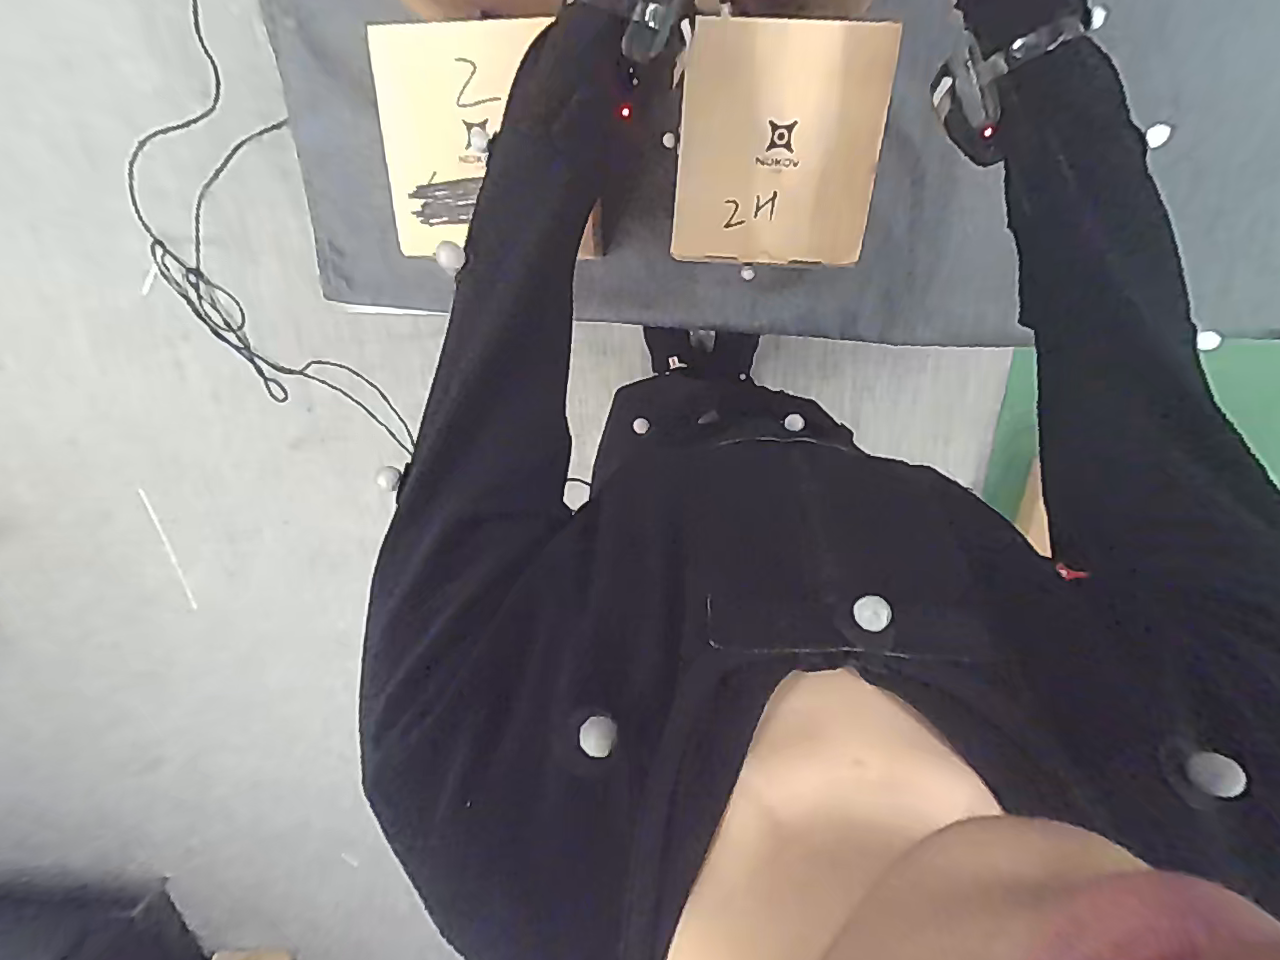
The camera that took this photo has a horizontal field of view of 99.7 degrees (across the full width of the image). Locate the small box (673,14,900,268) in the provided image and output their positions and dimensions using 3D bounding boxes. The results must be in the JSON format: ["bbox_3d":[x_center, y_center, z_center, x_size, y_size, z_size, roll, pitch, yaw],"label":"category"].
[{"bbox_3d":[0.121,-0.304,0.522,0.168,0.176,0.179,5,112,3],"label":"small box"}]
